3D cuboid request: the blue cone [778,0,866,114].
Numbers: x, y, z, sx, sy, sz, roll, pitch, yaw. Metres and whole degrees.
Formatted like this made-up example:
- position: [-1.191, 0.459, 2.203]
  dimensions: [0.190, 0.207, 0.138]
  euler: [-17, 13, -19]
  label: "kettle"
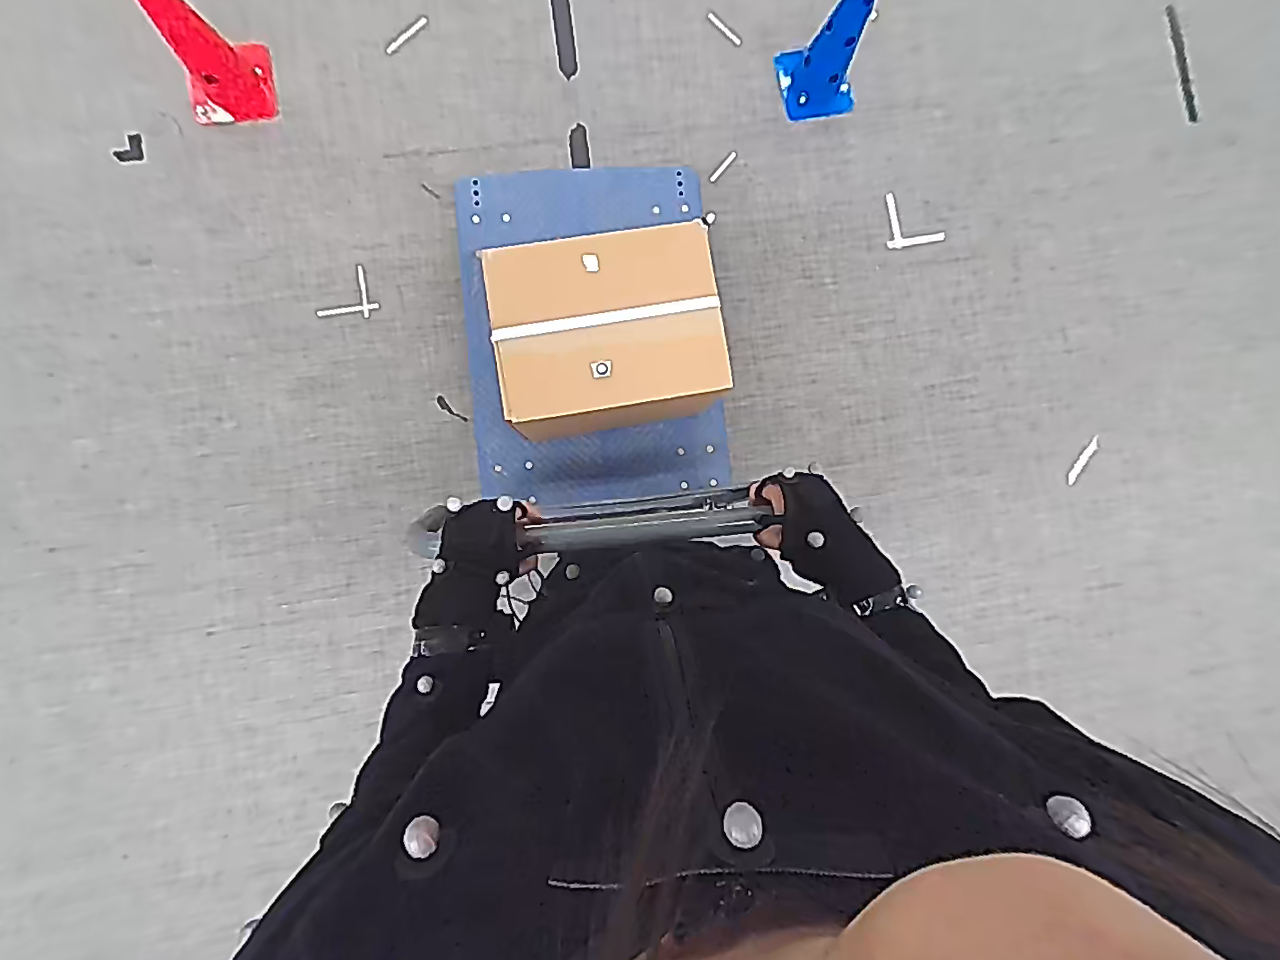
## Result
- position: [0.507, -1.132, 1.353]
  dimensions: [0.193, 0.380, 0.192]
  euler: [-12, 88, -6]
  label: "blue cone"
